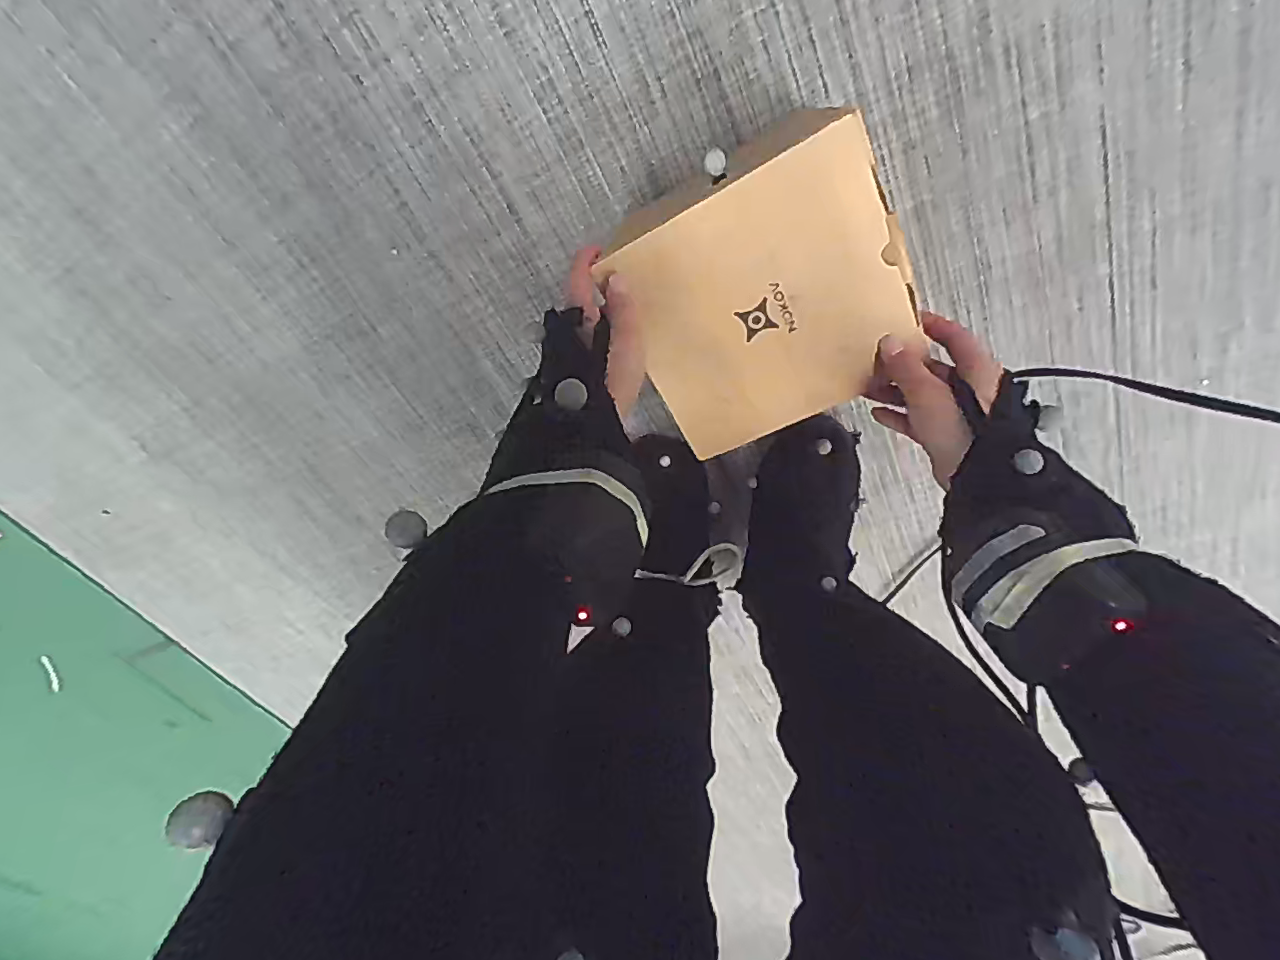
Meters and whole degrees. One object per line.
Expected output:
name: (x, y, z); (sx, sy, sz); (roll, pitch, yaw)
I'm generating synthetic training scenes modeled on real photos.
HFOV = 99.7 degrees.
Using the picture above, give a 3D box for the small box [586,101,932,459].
small box: (0.086, -0.149, 0.412); (0.179, 0.176, 0.168); (-23, 118, 20)
